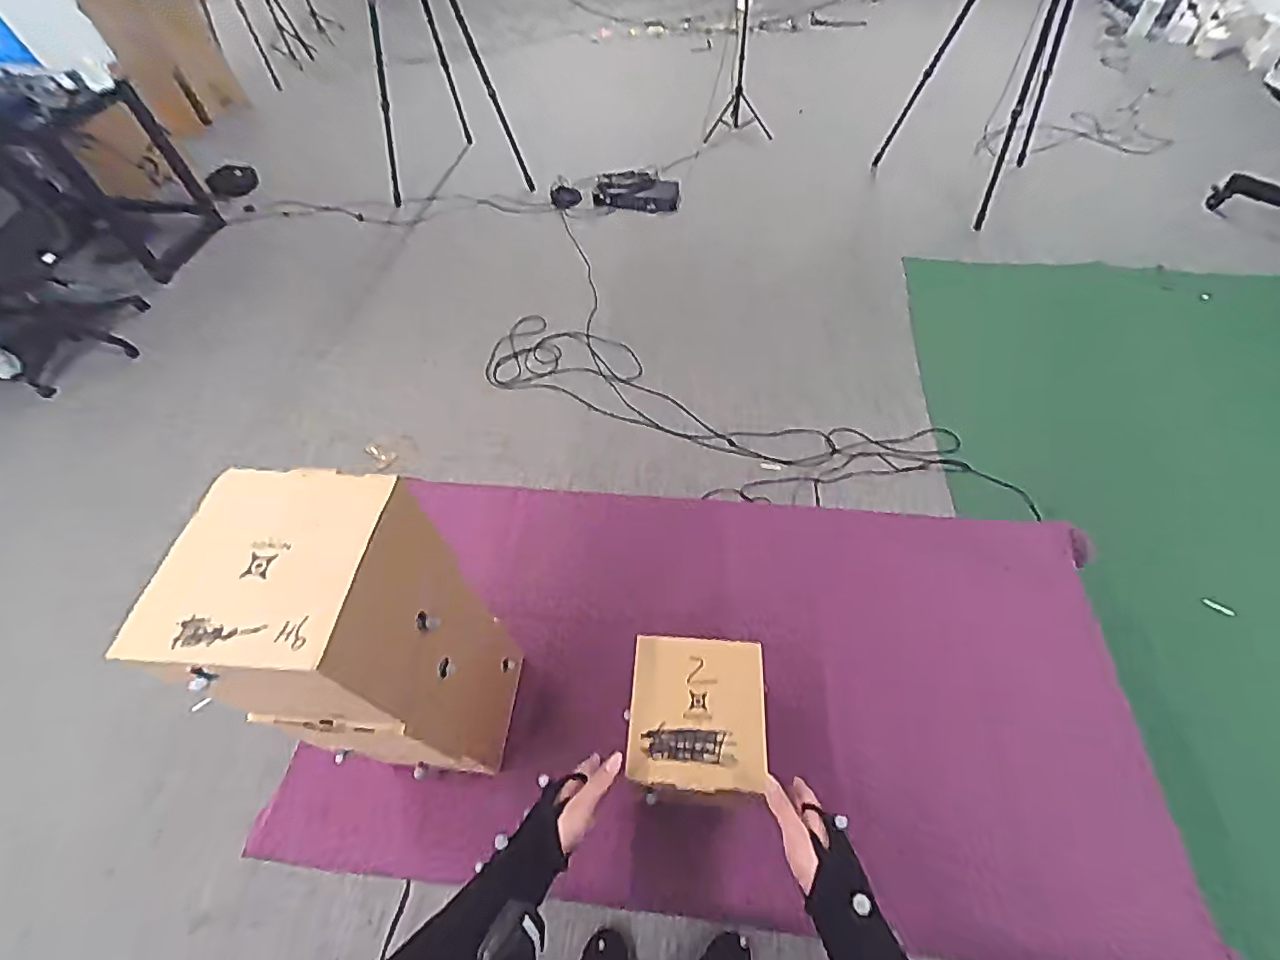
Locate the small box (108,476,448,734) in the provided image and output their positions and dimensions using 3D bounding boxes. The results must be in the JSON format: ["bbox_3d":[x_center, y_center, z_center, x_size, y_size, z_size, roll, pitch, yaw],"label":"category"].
[{"bbox_3d":[-0.298,0.116,0.500,0.168,0.176,0.179,2,53,6],"label":"small box"}]

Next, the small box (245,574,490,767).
[{"bbox_3d":[-0.290,0.220,0.627,0.168,0.176,0.179,2,52,6],"label":"small box"}]

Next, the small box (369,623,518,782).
[{"bbox_3d":[-0.281,0.311,0.763,0.168,0.176,0.179,2,54,6],"label":"small box"}]
